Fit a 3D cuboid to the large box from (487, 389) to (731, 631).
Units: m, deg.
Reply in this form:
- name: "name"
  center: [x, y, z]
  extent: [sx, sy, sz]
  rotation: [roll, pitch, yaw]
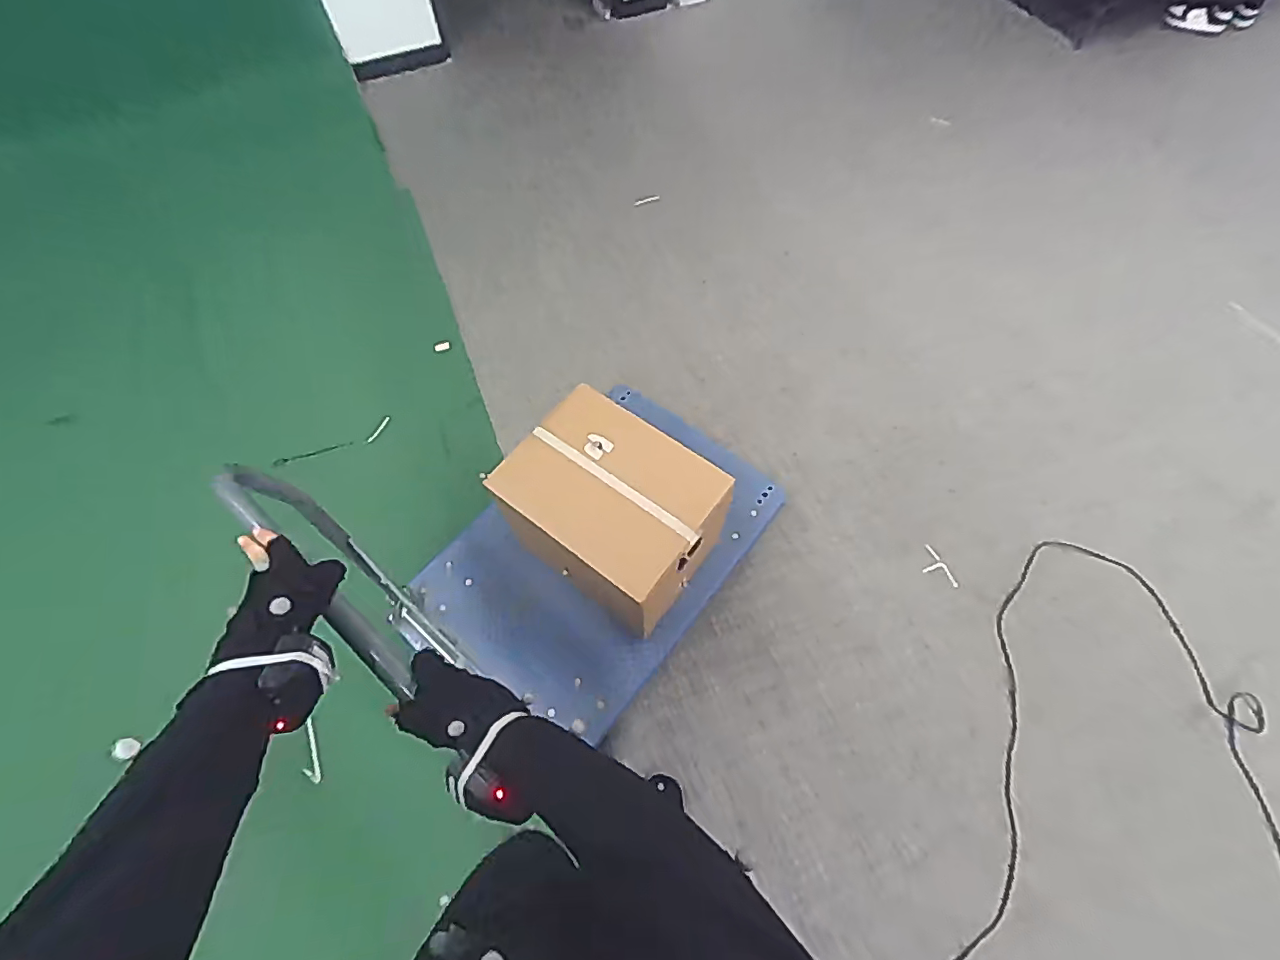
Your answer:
- name: "large box"
  center: [-0.056, 0.076, 1.214]
  extent: [0.408, 0.320, 0.320]
  rotation: [33, 68, 18]
